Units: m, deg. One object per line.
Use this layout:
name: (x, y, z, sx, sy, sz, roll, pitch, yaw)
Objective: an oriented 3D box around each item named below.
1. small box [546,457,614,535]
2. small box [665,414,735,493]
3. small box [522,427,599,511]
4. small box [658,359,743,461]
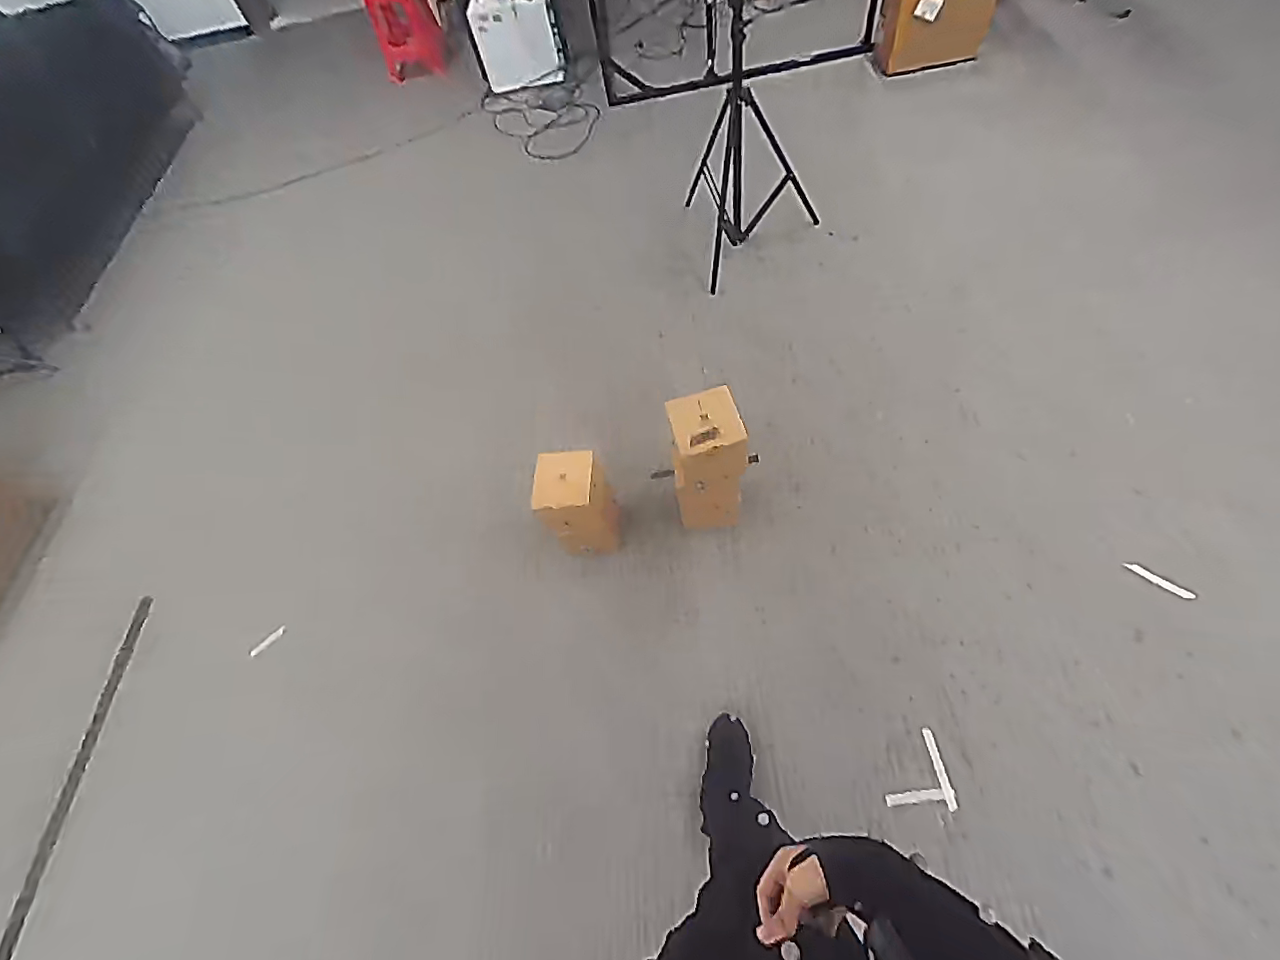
small box: (-0.179, 0.053, 1.654, 0.168, 0.176, 0.179, -6, 60, 9)
small box: (0.163, -0.087, 1.483, 0.168, 0.176, 0.179, -9, 59, 5)
small box: (-0.215, -0.027, 1.519, 0.168, 0.176, 0.179, -4, 61, 9)
small box: (0.152, -0.163, 1.336, 0.168, 0.176, 0.179, -15, 60, 1)
